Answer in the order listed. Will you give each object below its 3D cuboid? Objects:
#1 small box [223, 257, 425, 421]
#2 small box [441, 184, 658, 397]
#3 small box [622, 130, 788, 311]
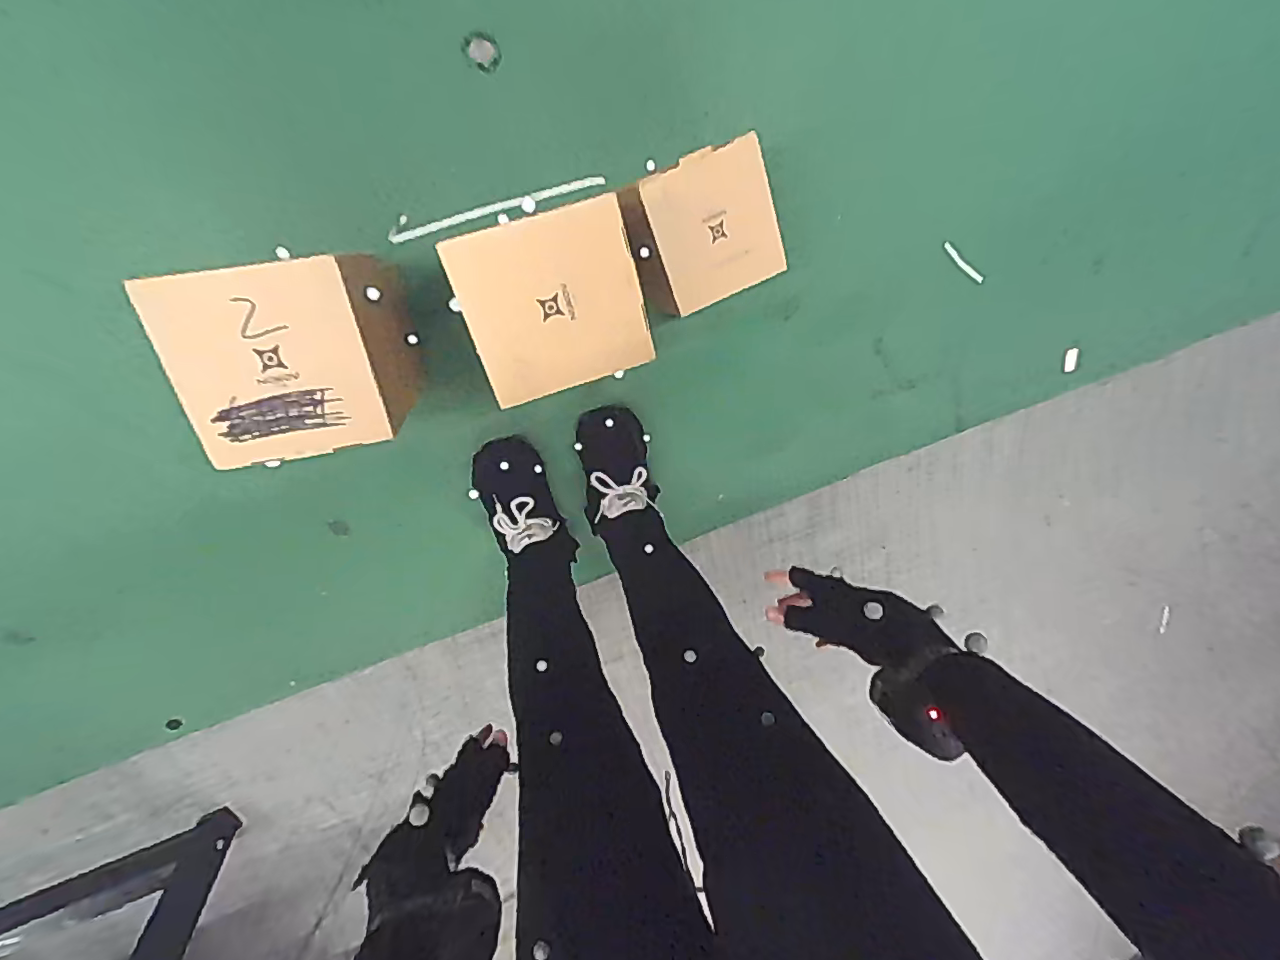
[{"bbox_3d":[-0.391,-0.193,0.708,0.168,0.176,0.179,-9,116,-11],"label":"small box"},{"bbox_3d":[-0.099,-0.209,0.600,0.179,0.176,0.168,-19,116,-8],"label":"small box"},{"bbox_3d":[0.082,-0.359,0.770,0.168,0.176,0.179,-24,117,-4],"label":"small box"}]
